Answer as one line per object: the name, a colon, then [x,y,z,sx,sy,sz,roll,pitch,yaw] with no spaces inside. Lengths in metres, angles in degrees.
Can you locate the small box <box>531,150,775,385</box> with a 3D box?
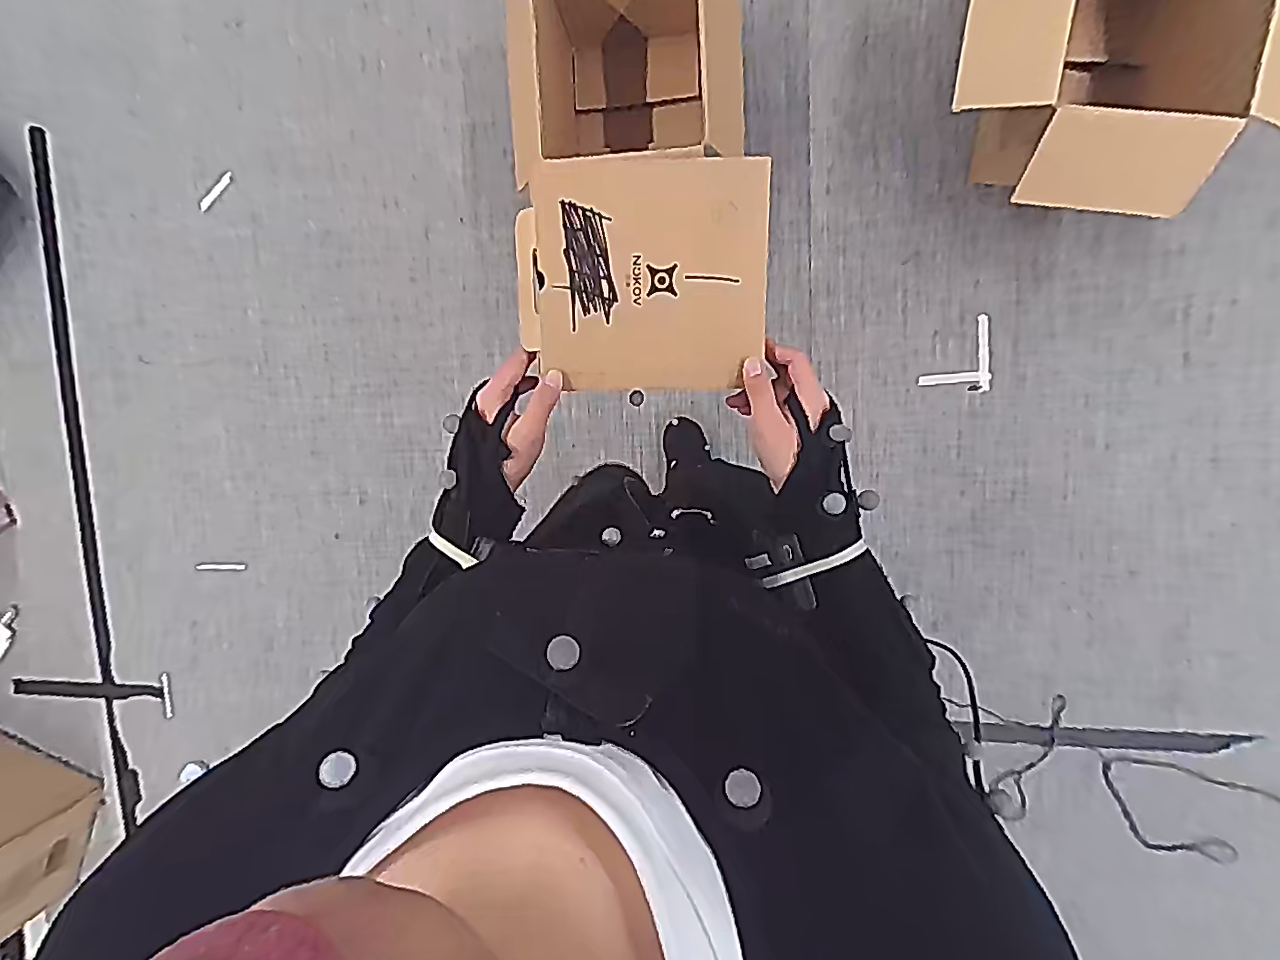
small box: [0.011,-0.168,0.477,0.179,0.176,0.168,-1,102,0]
